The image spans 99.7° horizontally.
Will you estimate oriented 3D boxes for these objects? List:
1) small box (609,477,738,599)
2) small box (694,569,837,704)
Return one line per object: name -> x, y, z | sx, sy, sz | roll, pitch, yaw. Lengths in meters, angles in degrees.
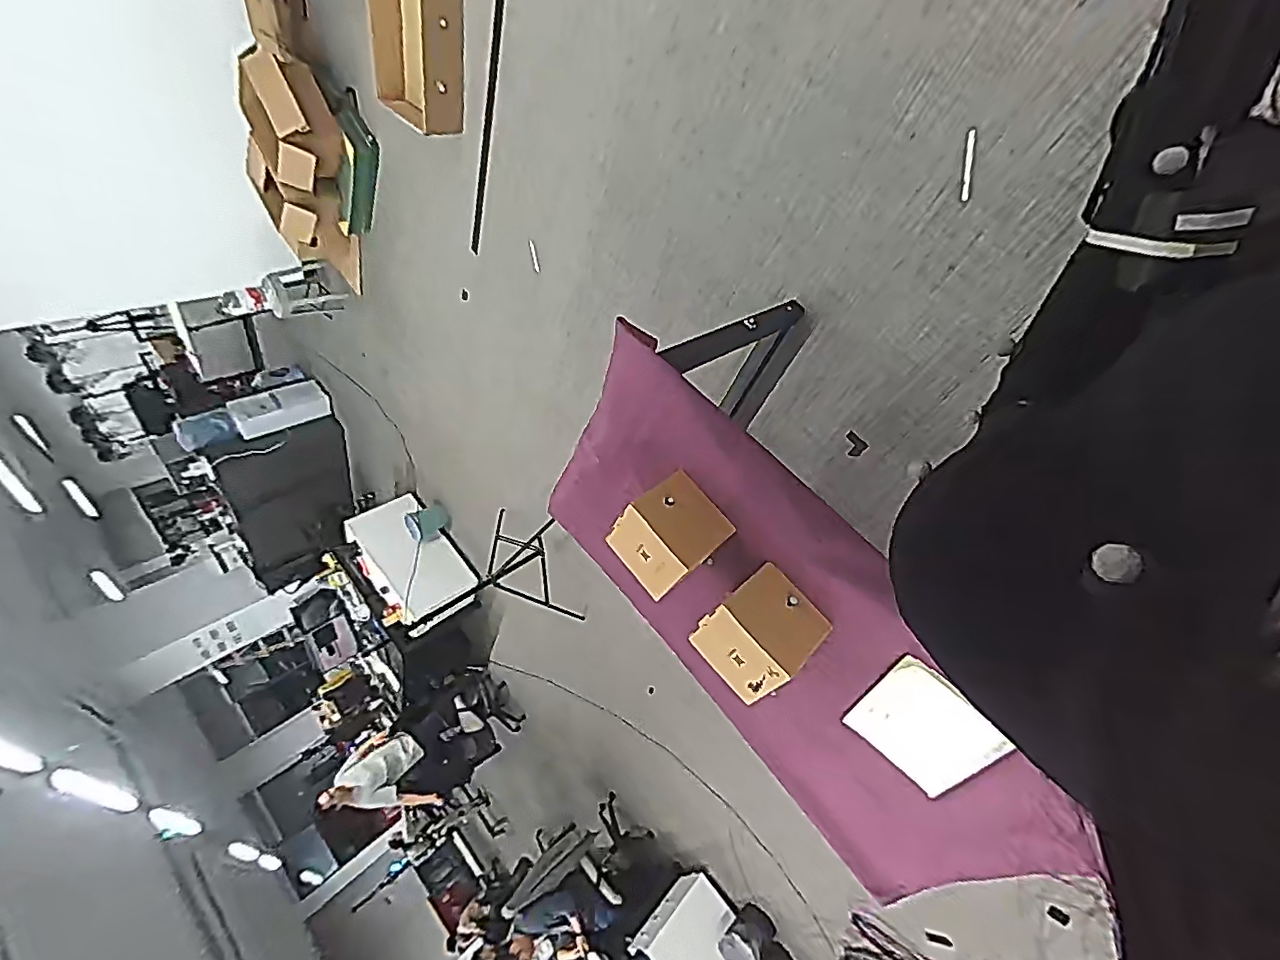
small box -> 0.070, 0.114, 1.142 | 0.179, 0.176, 0.168 | 48, 143, 12
small box -> 0.245, 0.299, 1.066 | 0.179, 0.176, 0.168 | 47, 141, 17
